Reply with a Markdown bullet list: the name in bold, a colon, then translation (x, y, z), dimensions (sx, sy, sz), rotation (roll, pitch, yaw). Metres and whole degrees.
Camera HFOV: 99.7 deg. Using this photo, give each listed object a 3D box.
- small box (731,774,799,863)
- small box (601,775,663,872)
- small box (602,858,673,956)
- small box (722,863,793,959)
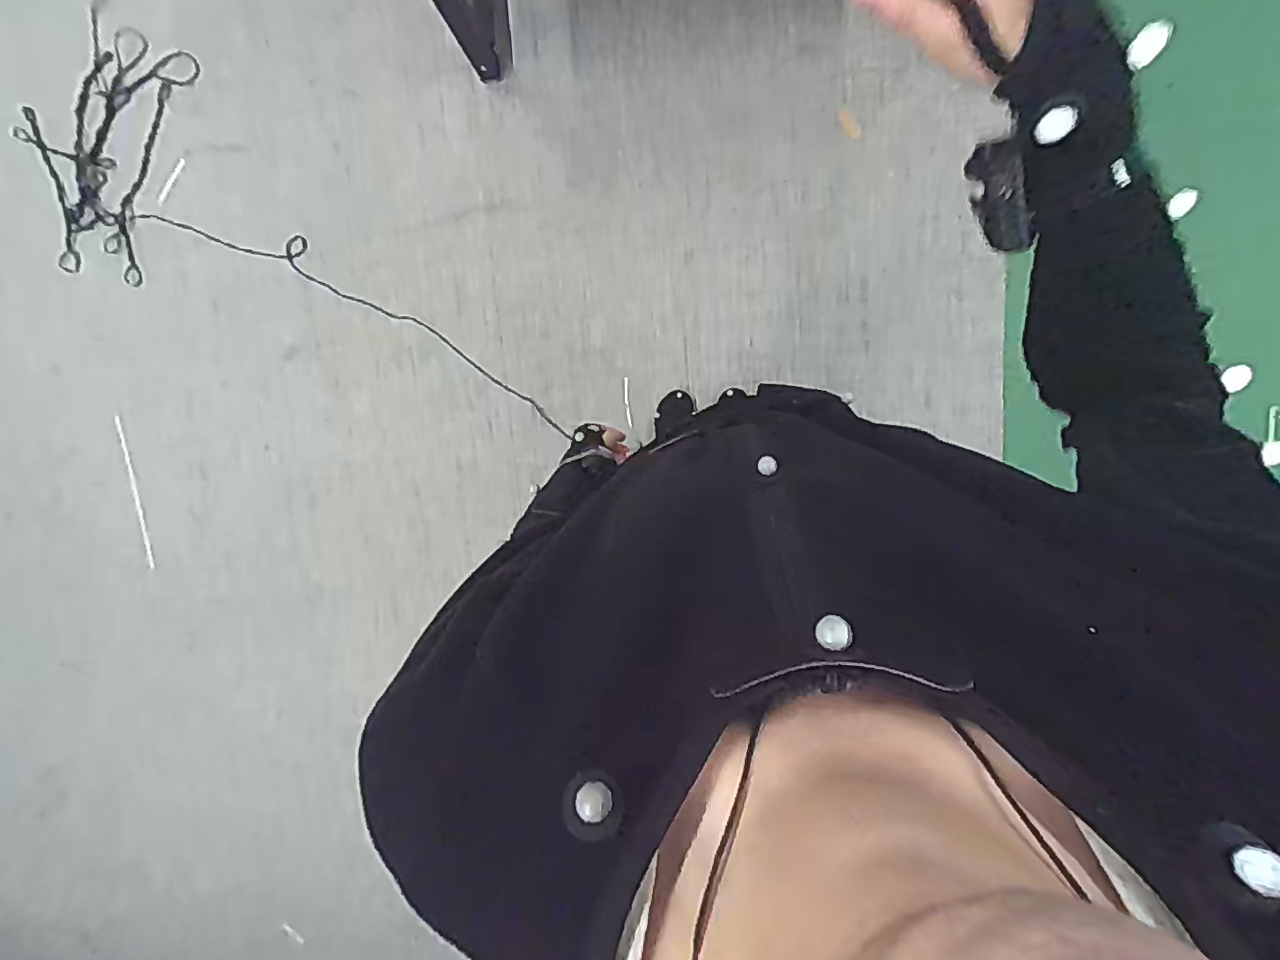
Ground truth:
- **small box**: translation (0.349, 0.967, 1.533), dimensions (0.168, 0.176, 0.179), rotation (1, 99, 5)
- **small box**: translation (-0.021, 0.984, 1.562), dimensions (0.168, 0.176, 0.179), rotation (0, 99, 5)
- **small box**: translation (-0.002, 1.238, 1.595), dimensions (0.179, 0.176, 0.168), rotation (12, 99, 4)
- **small box**: translation (0.339, 1.240, 1.573), dimensions (0.179, 0.176, 0.168), rotation (3, 99, 4)
